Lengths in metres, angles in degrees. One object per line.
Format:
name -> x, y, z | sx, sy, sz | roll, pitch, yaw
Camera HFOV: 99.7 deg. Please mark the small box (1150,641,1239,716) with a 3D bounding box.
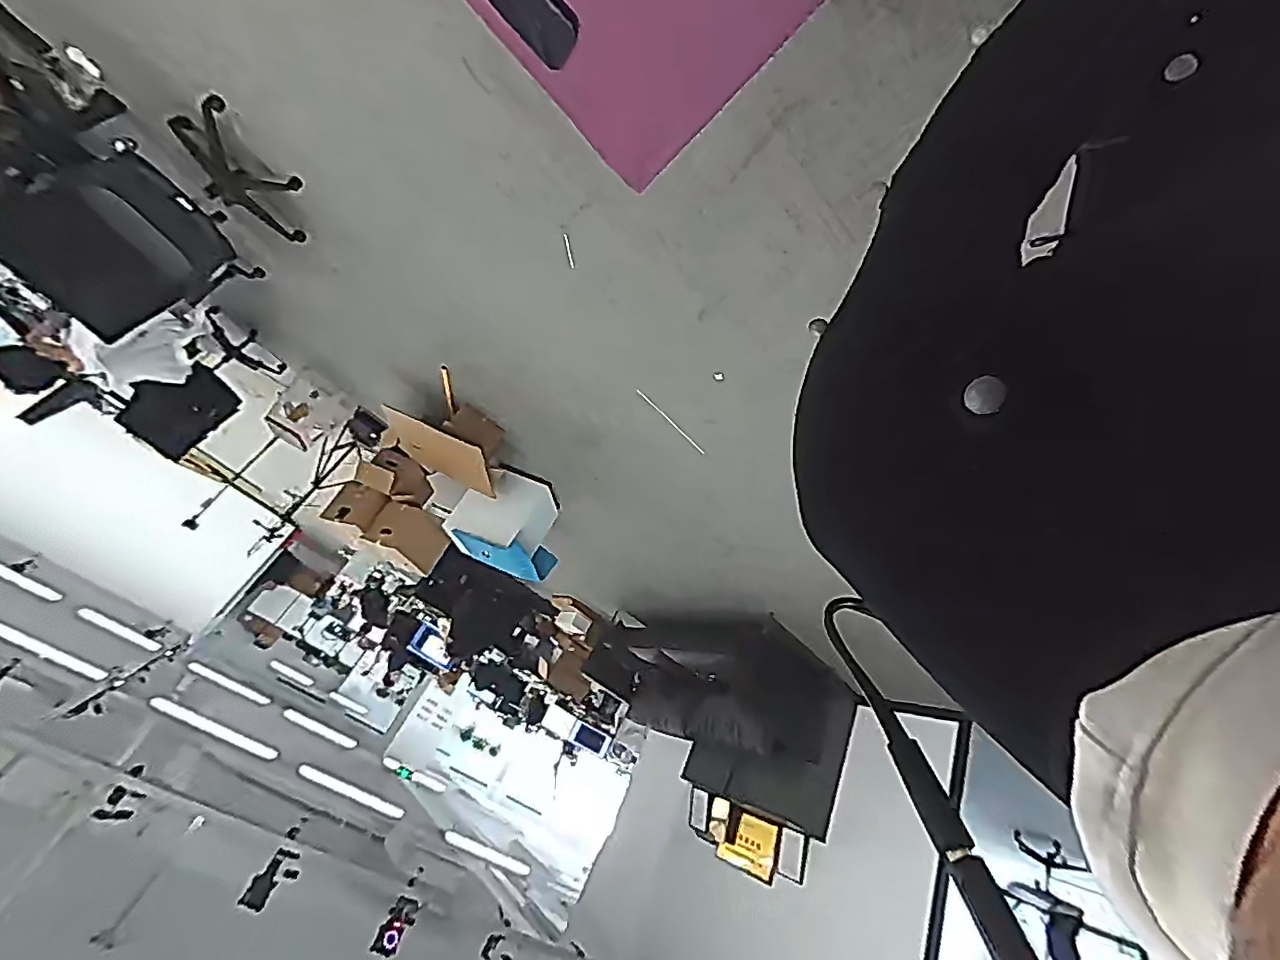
small box -> 1.654, 0.607, 1.610 | 0.179, 0.176, 0.168 | 46, 149, -24
